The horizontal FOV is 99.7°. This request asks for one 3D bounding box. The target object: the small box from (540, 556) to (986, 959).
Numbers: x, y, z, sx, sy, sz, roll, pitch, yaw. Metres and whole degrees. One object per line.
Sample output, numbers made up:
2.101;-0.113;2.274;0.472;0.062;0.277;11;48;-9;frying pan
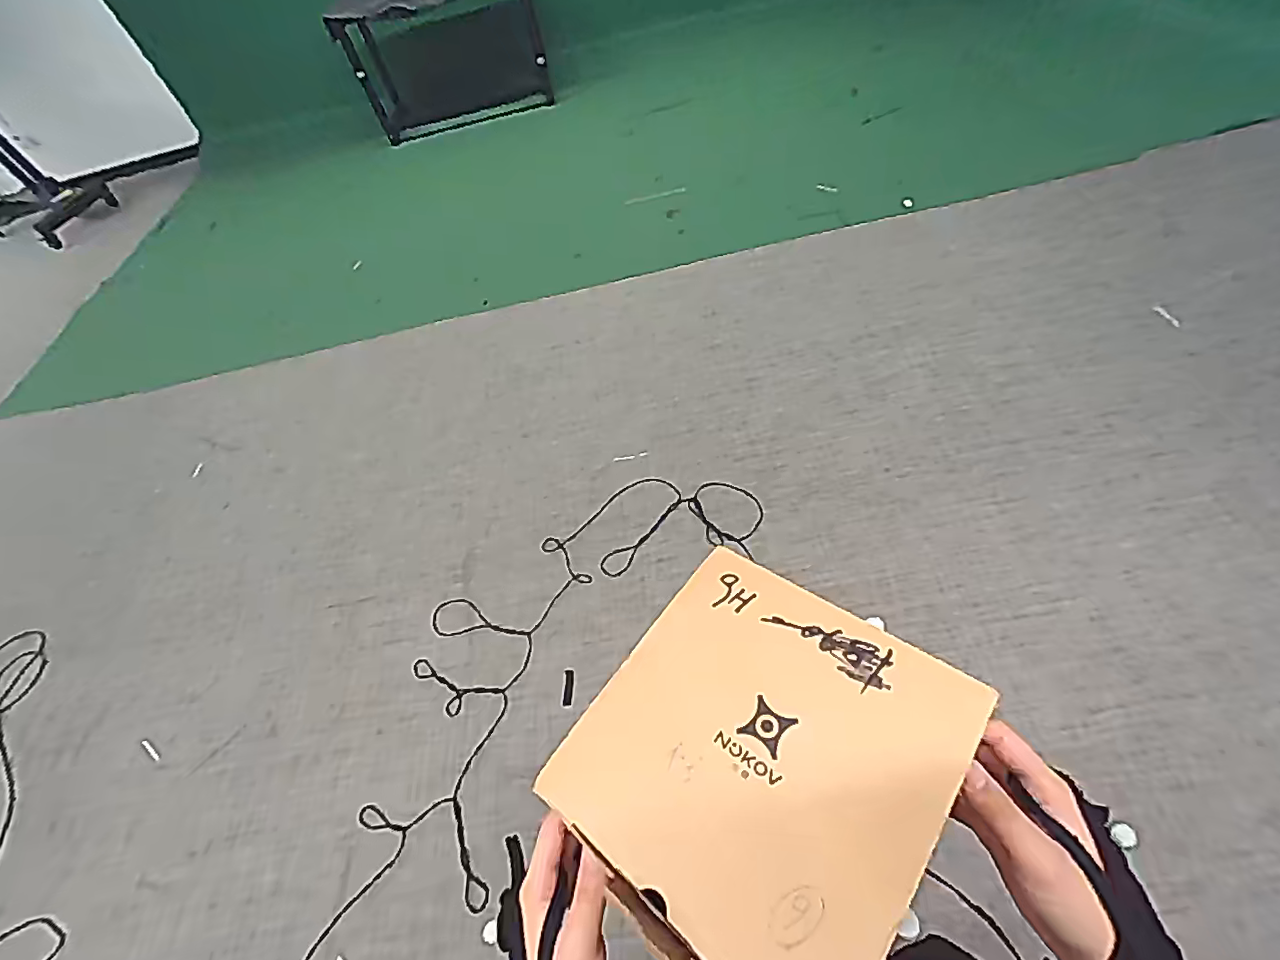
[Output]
0.077;0.187;0.334;0.168;0.176;0.179;26;63;33;small box
